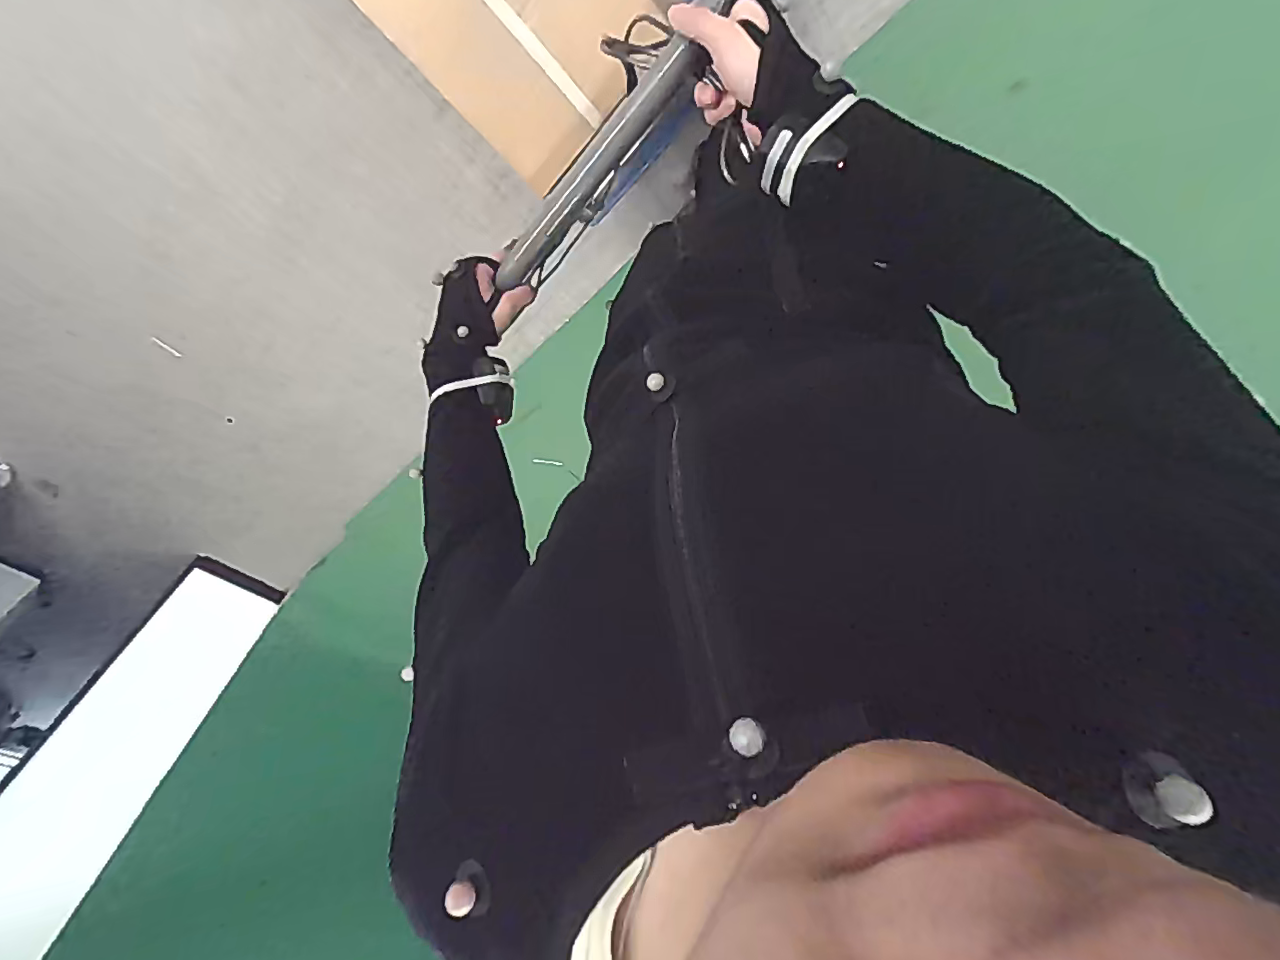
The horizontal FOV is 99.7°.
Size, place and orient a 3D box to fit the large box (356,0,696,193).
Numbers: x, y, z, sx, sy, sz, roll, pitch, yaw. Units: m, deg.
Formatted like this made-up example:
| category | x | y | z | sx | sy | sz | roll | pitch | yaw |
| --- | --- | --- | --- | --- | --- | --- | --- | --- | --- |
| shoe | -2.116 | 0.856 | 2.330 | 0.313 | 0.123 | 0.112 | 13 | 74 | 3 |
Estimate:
| category | x | y | z | sx | sy | sz | roll | pitch | yaw |
| --- | --- | --- | --- | --- | --- | --- | --- | --- | --- |
| large box | -0.168 | -0.768 | 0.870 | 0.320 | 0.320 | 0.408 | -32 | 116 | 35 |
